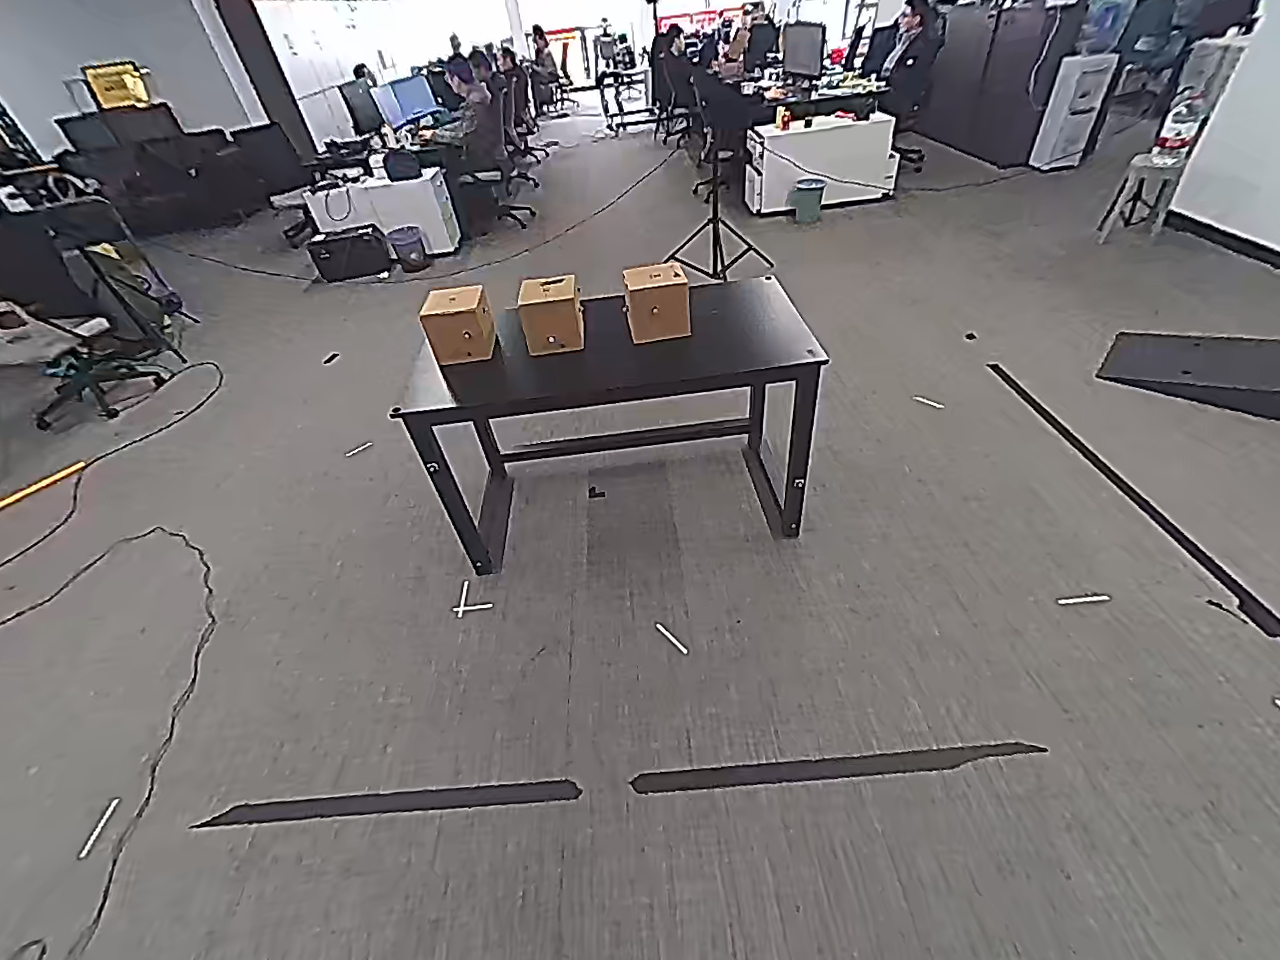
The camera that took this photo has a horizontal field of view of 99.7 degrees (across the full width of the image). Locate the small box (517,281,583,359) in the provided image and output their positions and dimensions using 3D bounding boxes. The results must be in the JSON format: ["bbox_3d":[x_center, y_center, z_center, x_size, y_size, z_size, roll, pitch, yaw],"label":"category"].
[{"bbox_3d":[-0.272,-0.492,1.666,0.168,0.176,0.179,-7,42,0],"label":"small box"}]

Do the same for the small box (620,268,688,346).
[{"bbox_3d":[0.045,-0.526,1.656,0.179,0.176,0.168,-10,42,-2],"label":"small box"}]

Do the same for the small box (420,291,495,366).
[{"bbox_3d":[-0.558,-0.464,1.677,0.168,0.176,0.179,-7,41,-1],"label":"small box"}]
